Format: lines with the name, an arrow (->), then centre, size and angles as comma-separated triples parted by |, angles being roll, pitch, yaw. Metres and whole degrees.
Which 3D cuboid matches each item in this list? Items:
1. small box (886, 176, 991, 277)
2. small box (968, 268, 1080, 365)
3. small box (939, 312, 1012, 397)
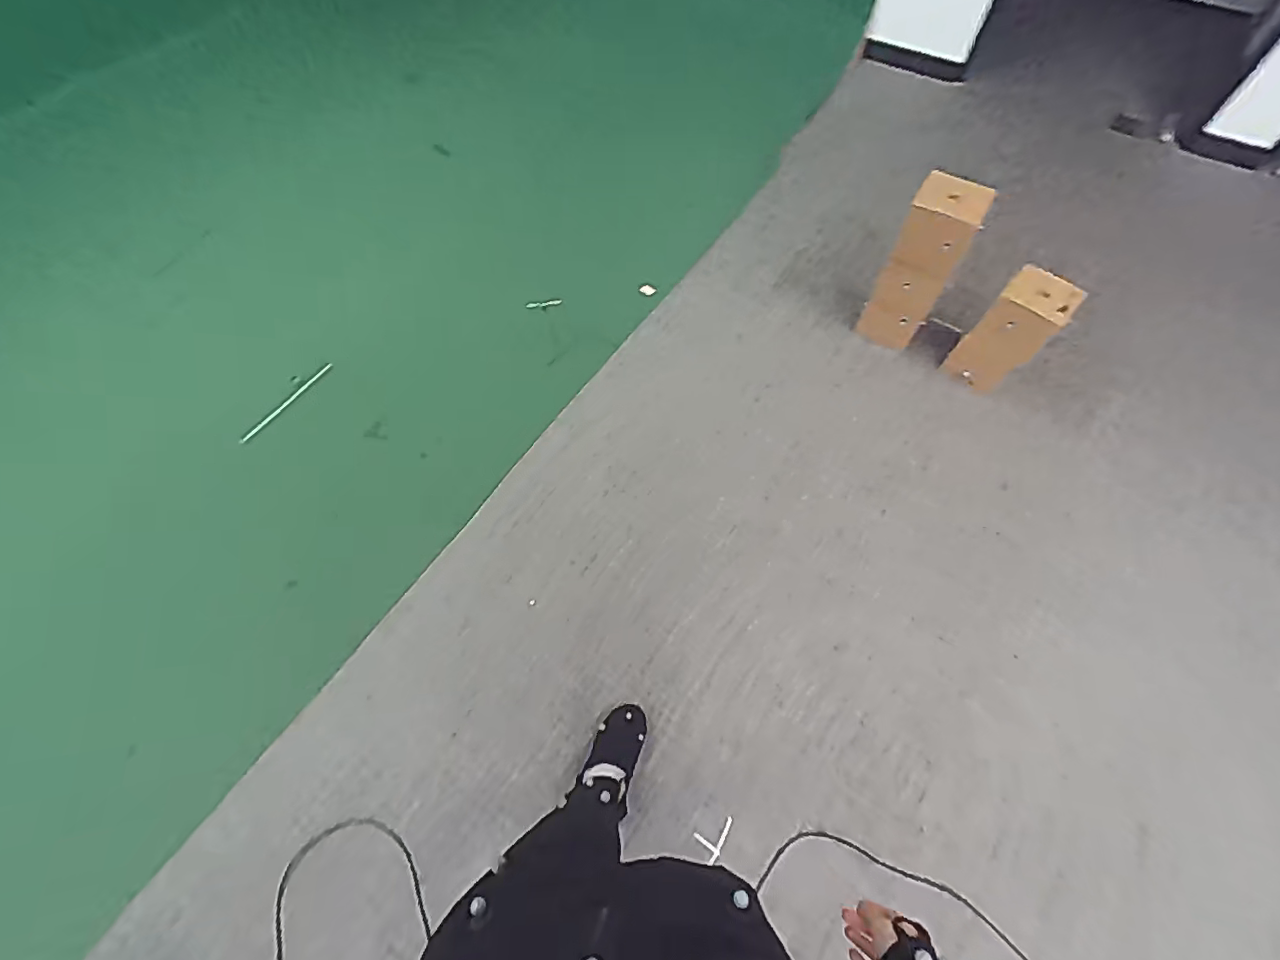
small box -> 0.816, -0.693, 1.493 | 0.179, 0.176, 0.168 | 29, 67, 16
small box -> 1.092, -0.463, 1.552 | 0.179, 0.176, 0.168 | 39, 71, 20
small box -> 1.086, -0.399, 1.705 | 0.168, 0.176, 0.179 | 40, 71, 20
